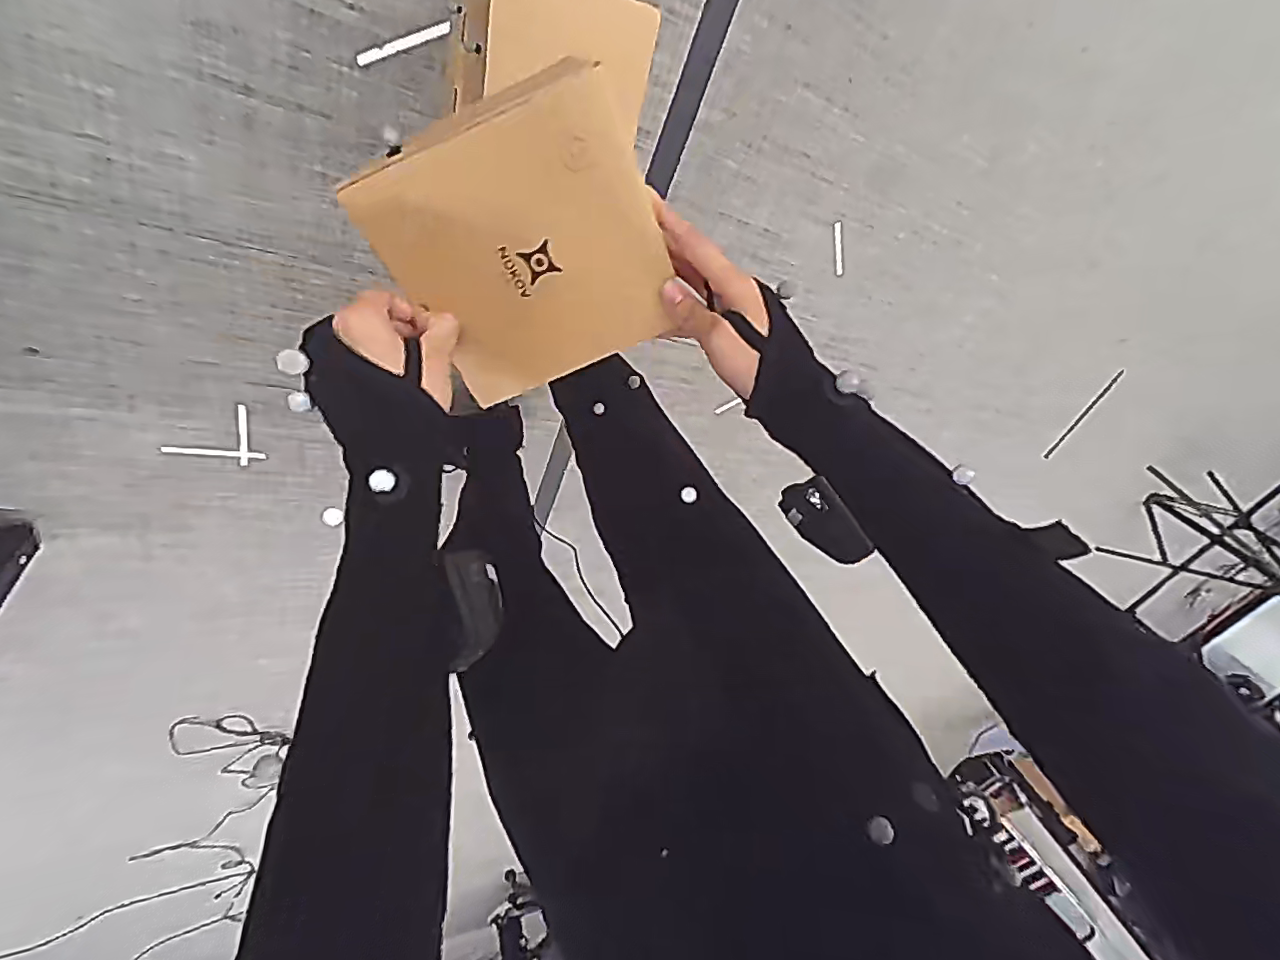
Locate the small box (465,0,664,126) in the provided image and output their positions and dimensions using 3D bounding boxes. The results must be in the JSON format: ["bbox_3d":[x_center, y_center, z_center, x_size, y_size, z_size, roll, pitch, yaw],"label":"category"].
[{"bbox_3d":[-0.097,-0.448,0.600,0.168,0.176,0.179,0,130,-25],"label":"small box"}]

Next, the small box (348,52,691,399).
[{"bbox_3d":[-0.080,-0.198,0.417,0.179,0.176,0.168,-20,131,7],"label":"small box"}]
